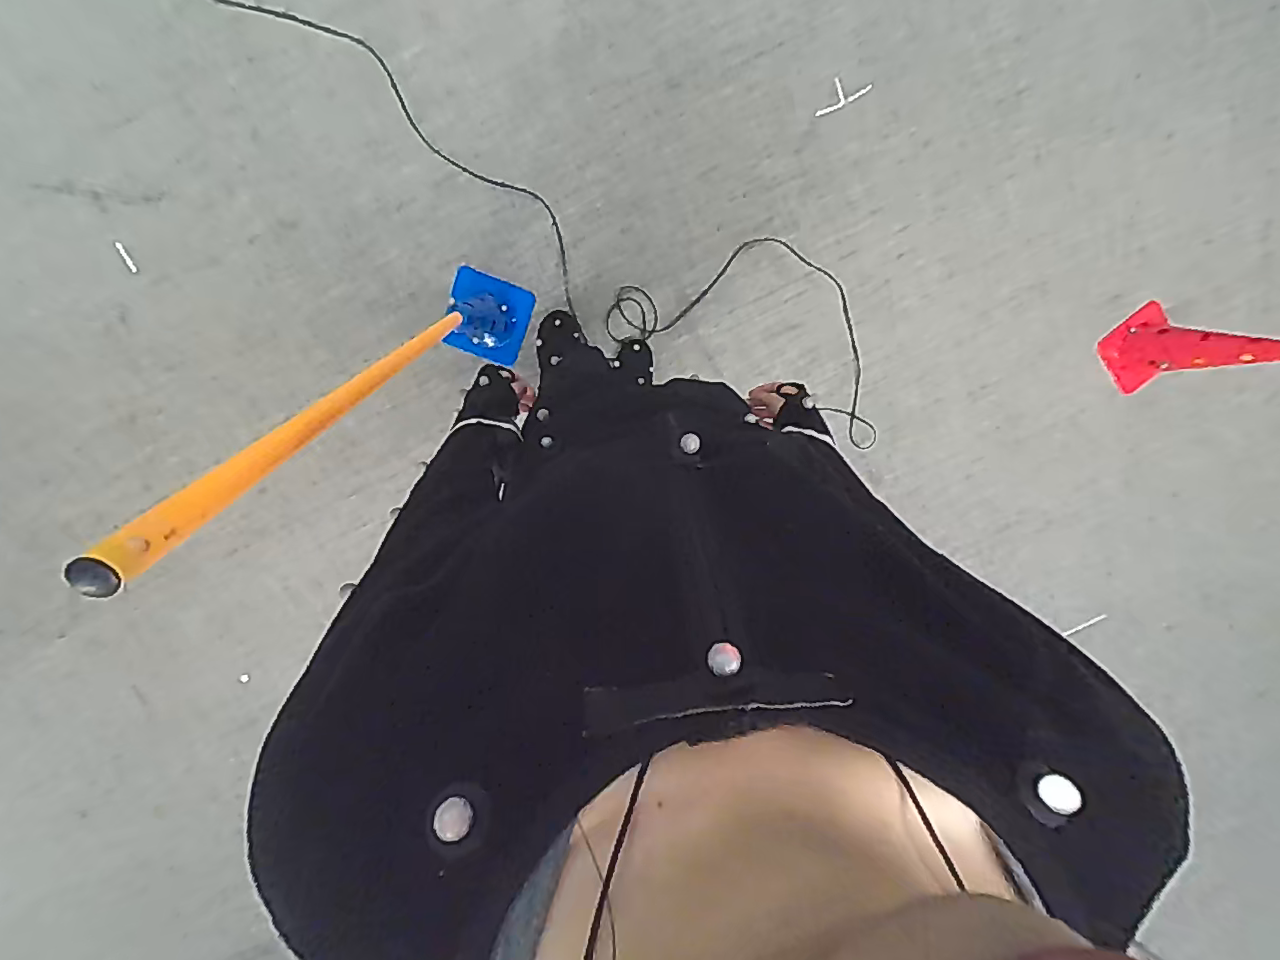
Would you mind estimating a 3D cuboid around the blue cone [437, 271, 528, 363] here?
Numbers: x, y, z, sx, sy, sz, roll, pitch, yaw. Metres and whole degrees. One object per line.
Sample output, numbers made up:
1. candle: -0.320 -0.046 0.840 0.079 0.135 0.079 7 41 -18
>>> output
1. blue cone: -0.370 -0.351 1.190 0.192 0.380 0.193 18 105 -11
